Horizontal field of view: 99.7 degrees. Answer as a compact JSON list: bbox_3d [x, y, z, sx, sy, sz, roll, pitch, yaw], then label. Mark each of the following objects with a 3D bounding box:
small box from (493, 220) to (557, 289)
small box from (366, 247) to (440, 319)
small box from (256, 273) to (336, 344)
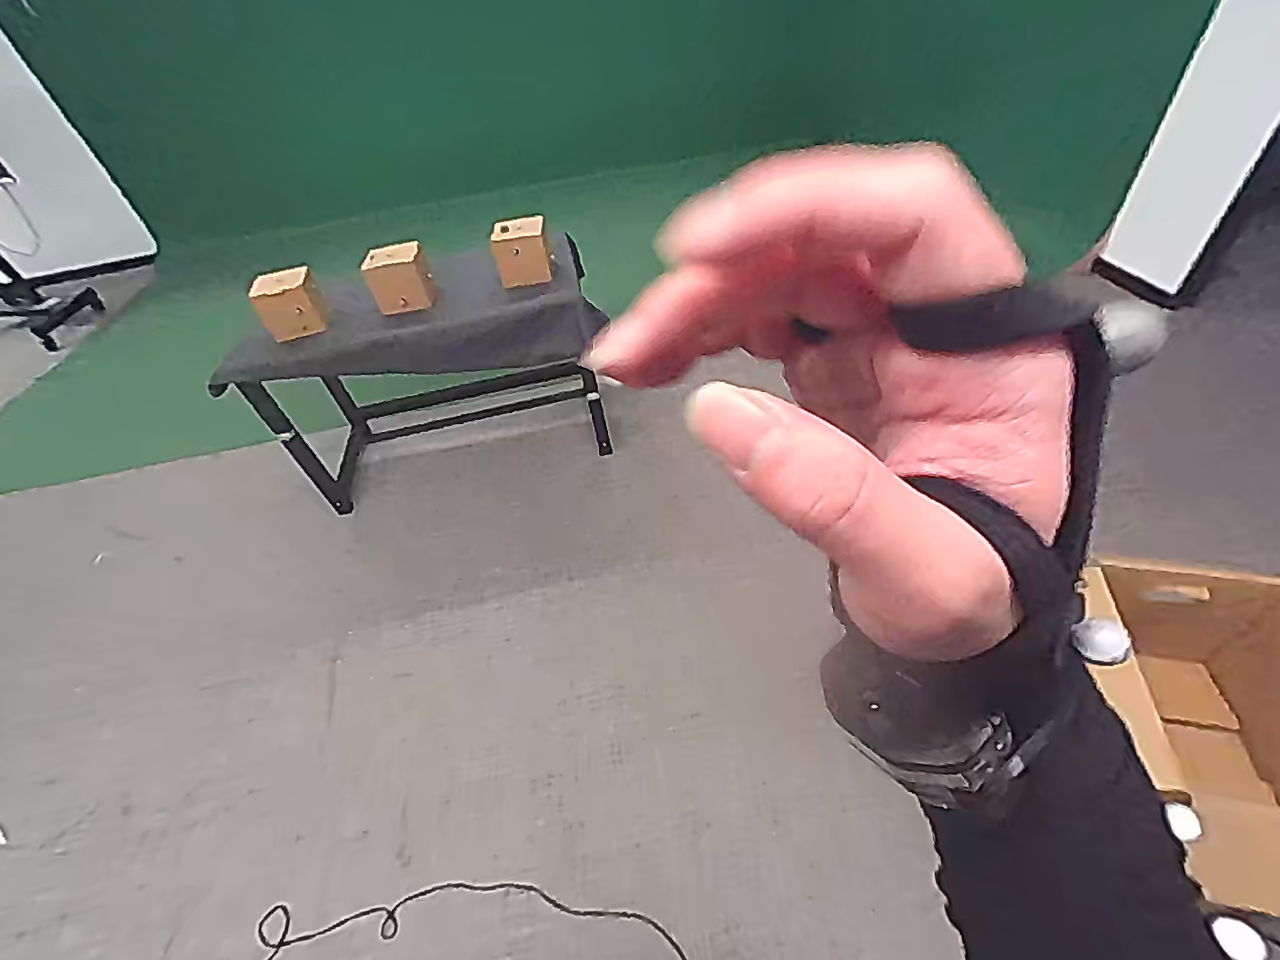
[{"bbox_3d":[-0.402,-0.796,1.918,0.179,0.176,0.168,-8,45,2],"label":"small box"},{"bbox_3d":[-0.820,-0.689,1.894,0.179,0.176,0.168,-10,45,-1],"label":"small box"},{"bbox_3d":[-1.173,-0.585,1.858,0.168,0.176,0.179,-17,43,-9],"label":"small box"}]
